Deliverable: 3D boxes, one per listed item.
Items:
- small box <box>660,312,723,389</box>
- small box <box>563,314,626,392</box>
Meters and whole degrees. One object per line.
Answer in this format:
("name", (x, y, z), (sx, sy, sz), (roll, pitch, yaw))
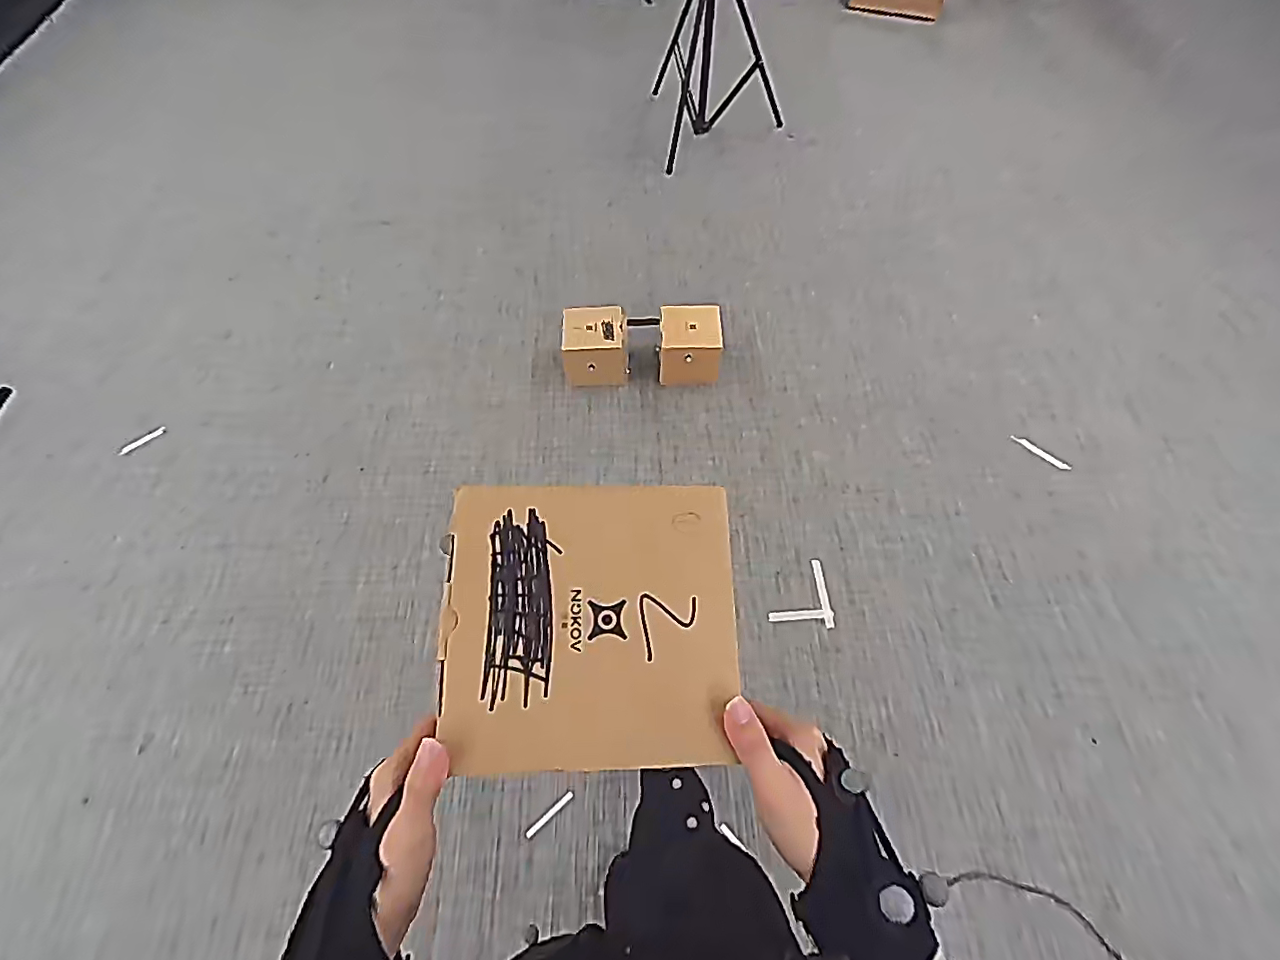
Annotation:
("small box", (0.151, -0.390, 1.647), (0.179, 0.176, 0.168), (-1, 61, 2))
("small box", (-0.133, -0.384, 1.648), (0.179, 0.176, 0.168), (-2, 61, 2))
